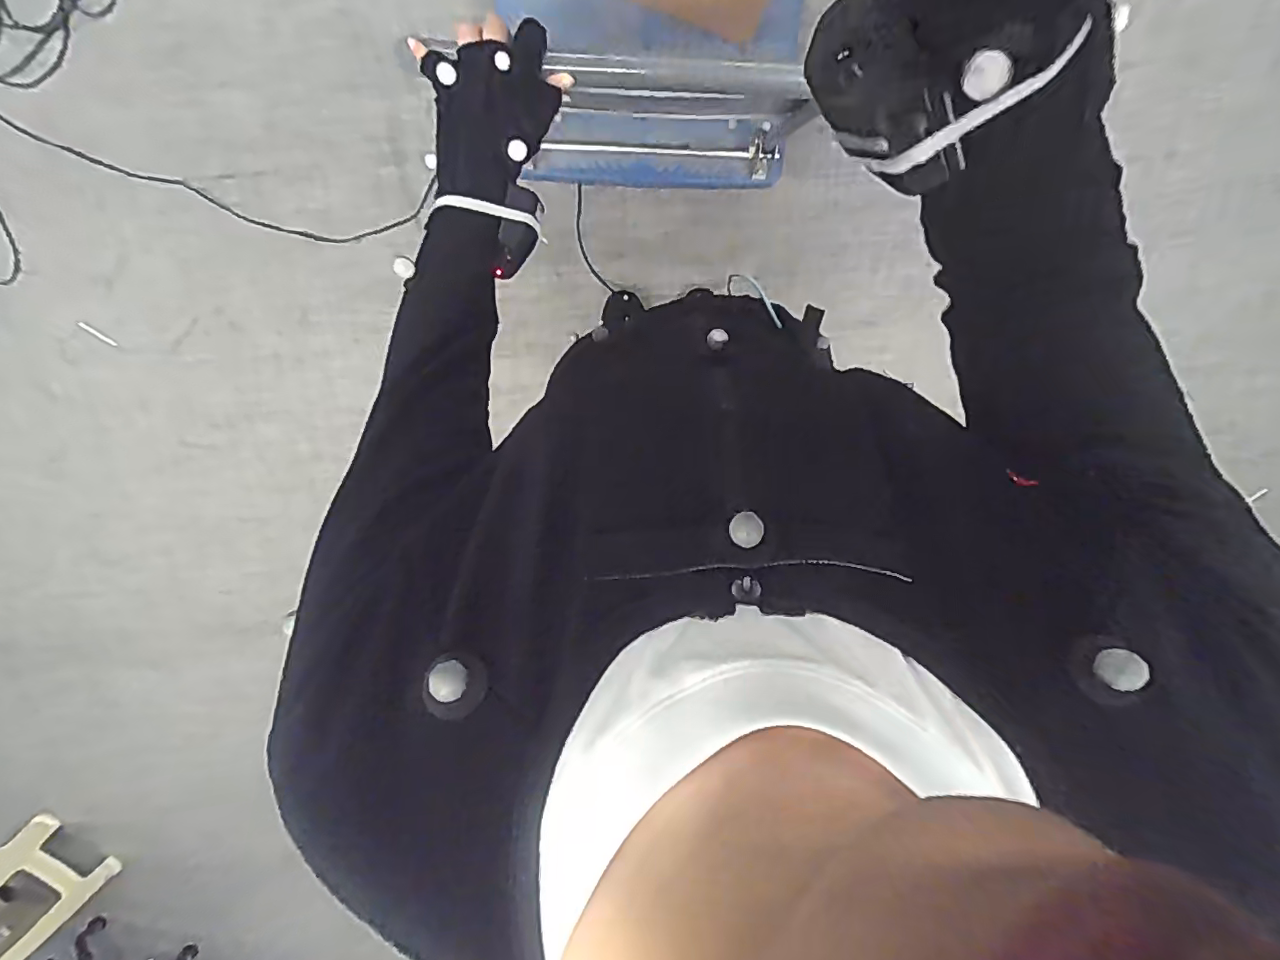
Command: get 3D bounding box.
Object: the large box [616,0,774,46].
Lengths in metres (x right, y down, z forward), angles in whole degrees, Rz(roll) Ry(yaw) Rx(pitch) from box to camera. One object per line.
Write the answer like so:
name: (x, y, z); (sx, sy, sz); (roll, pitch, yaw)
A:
large box: (0.065, -0.965, 0.835); (0.408, 0.320, 0.320); (17, 110, -5)
